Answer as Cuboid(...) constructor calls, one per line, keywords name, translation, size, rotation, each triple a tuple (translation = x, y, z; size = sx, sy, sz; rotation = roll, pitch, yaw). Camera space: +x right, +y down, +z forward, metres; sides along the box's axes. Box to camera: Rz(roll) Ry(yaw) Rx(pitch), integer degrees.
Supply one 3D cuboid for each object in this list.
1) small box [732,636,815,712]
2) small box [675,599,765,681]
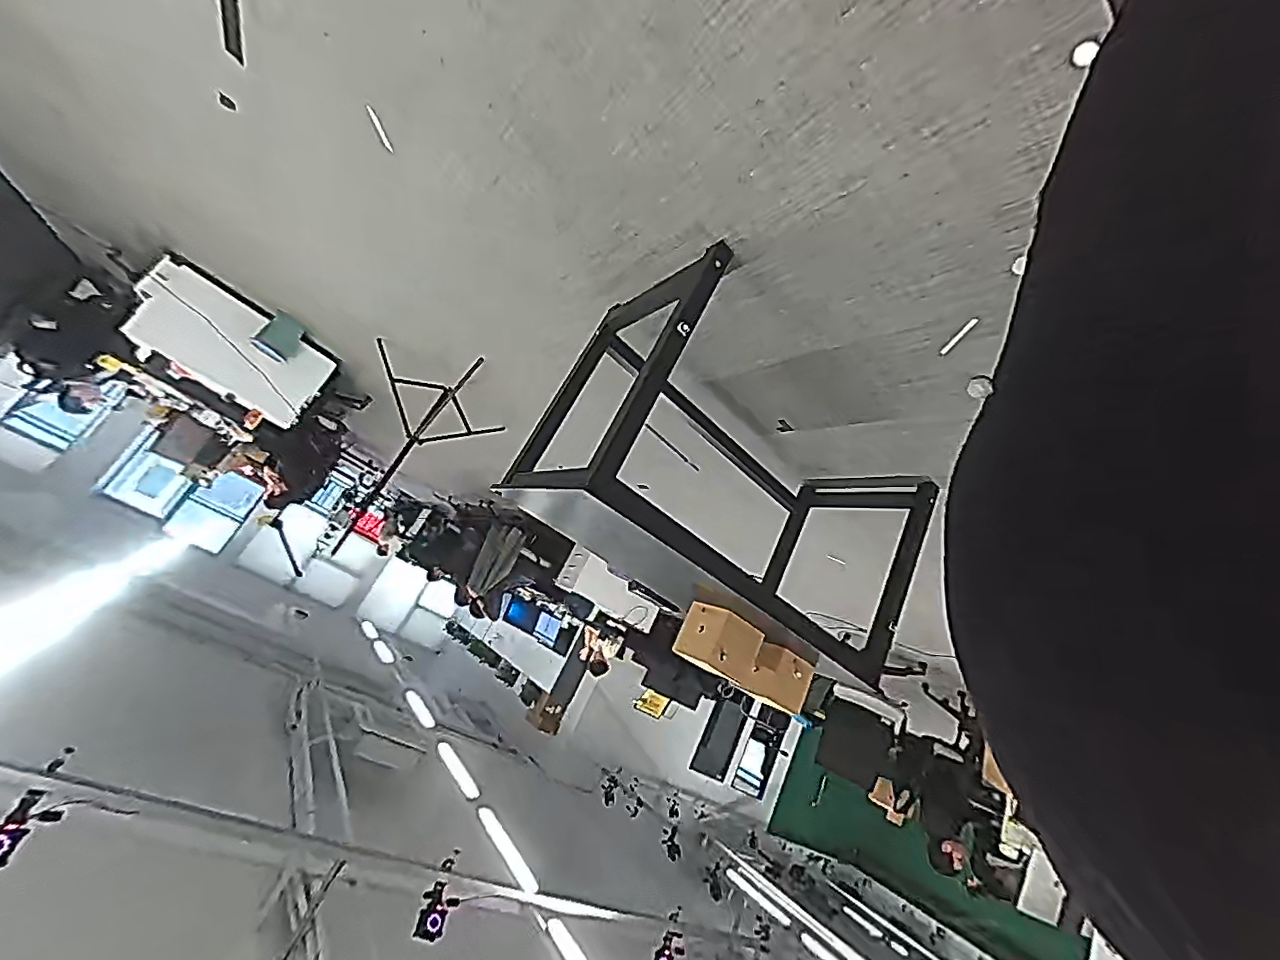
Cuboid(name="small box", translation=(0.438, 0.622, 1.766), size=(0.168, 0.176, 0.179), rotation=(36, 160, -25))
Cuboid(name="small box", translation=(0.246, 0.481, 1.646), size=(0.179, 0.176, 0.168), rotation=(37, 161, -27))
